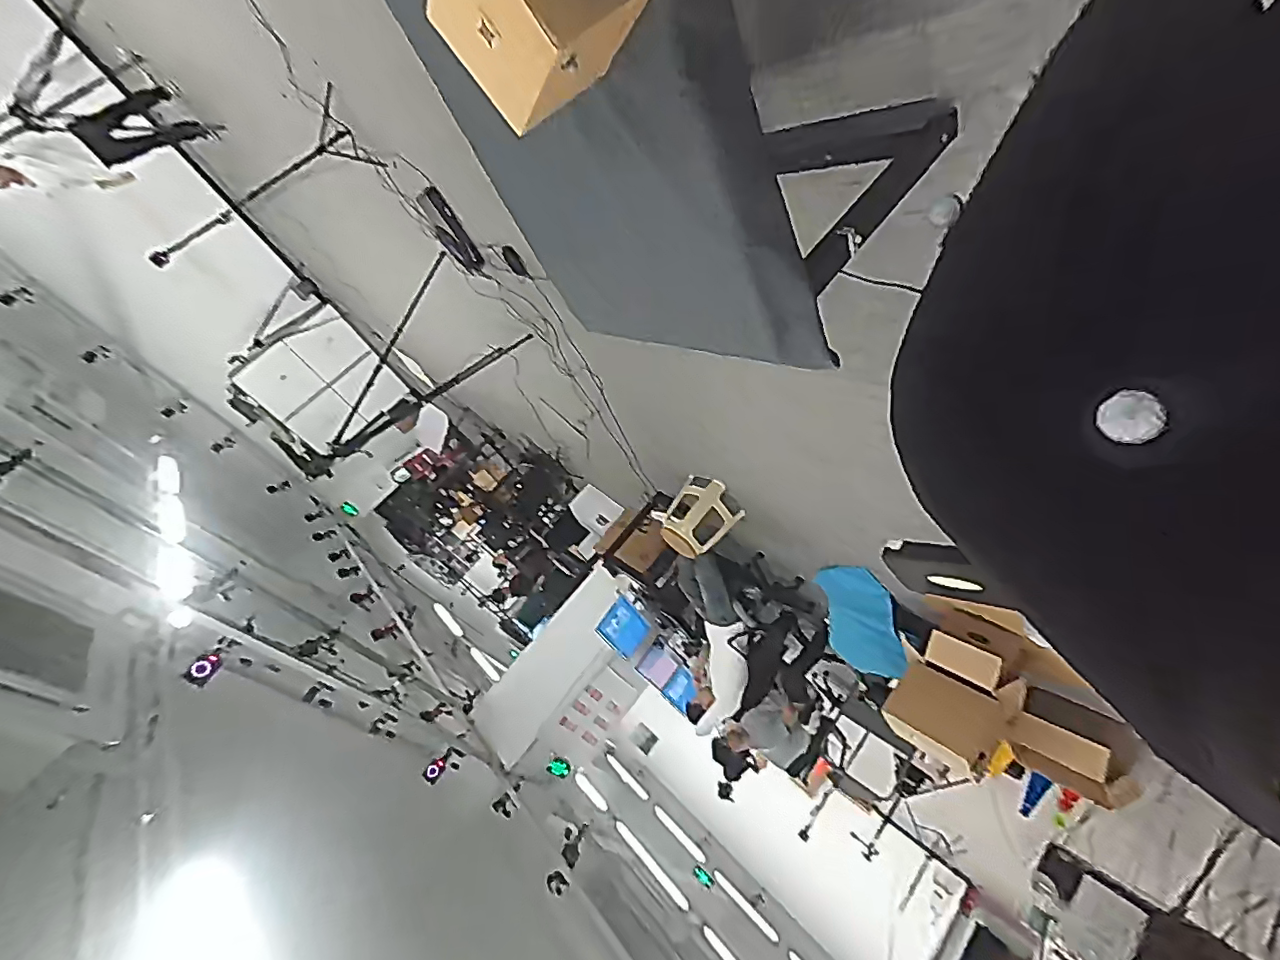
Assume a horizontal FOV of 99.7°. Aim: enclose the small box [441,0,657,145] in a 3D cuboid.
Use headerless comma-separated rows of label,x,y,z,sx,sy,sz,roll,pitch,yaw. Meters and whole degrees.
small box,-0.109,-0.557,0.644,0.168,0.176,0.179,48,162,-19
